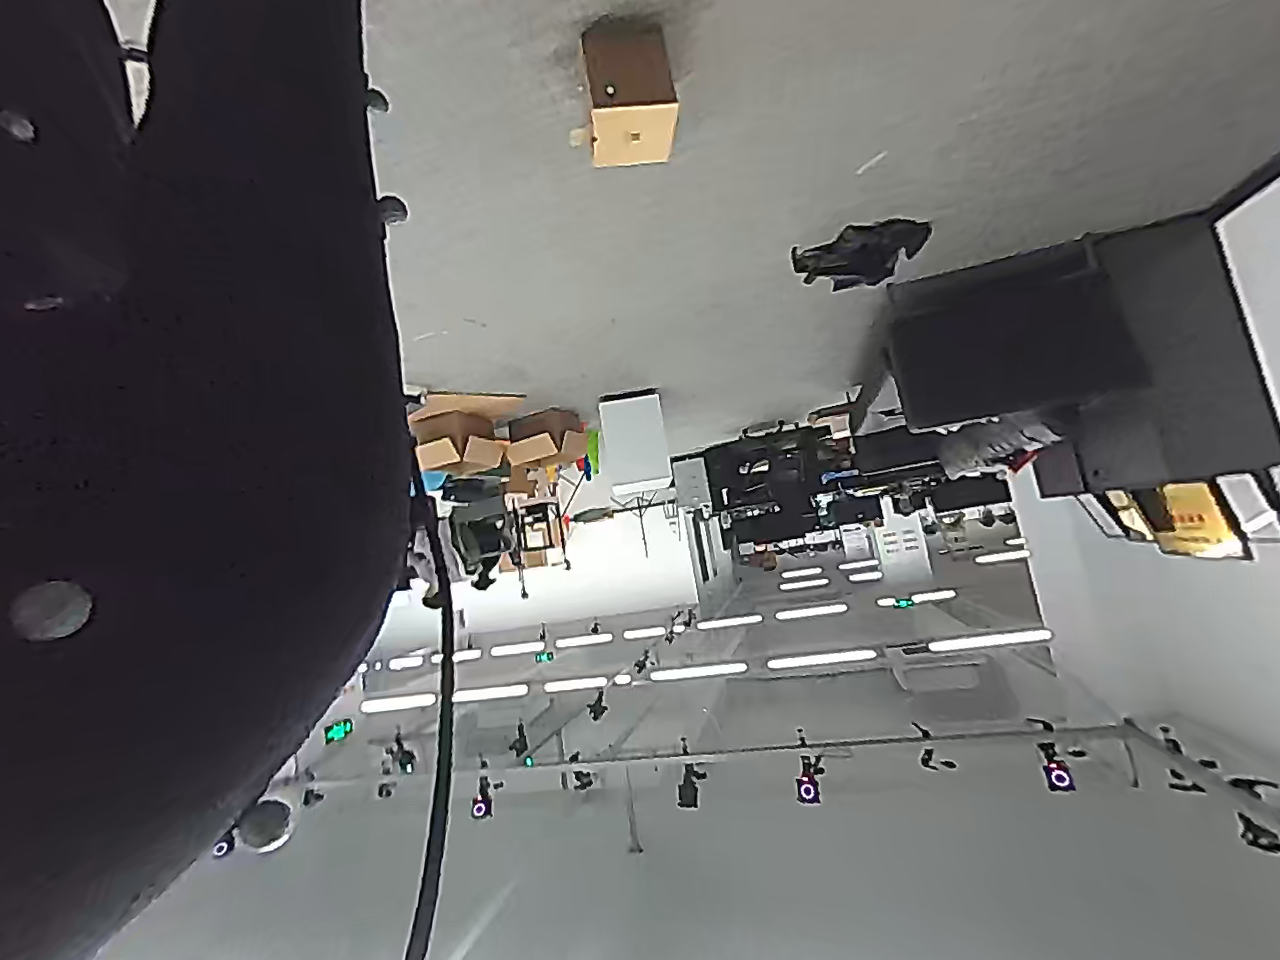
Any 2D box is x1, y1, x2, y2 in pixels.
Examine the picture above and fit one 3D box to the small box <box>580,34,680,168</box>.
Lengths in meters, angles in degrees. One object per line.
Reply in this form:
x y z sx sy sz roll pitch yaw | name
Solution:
-0.027 -0.797 1.141 0.179 0.176 0.168 -8 174 -6 | small box
